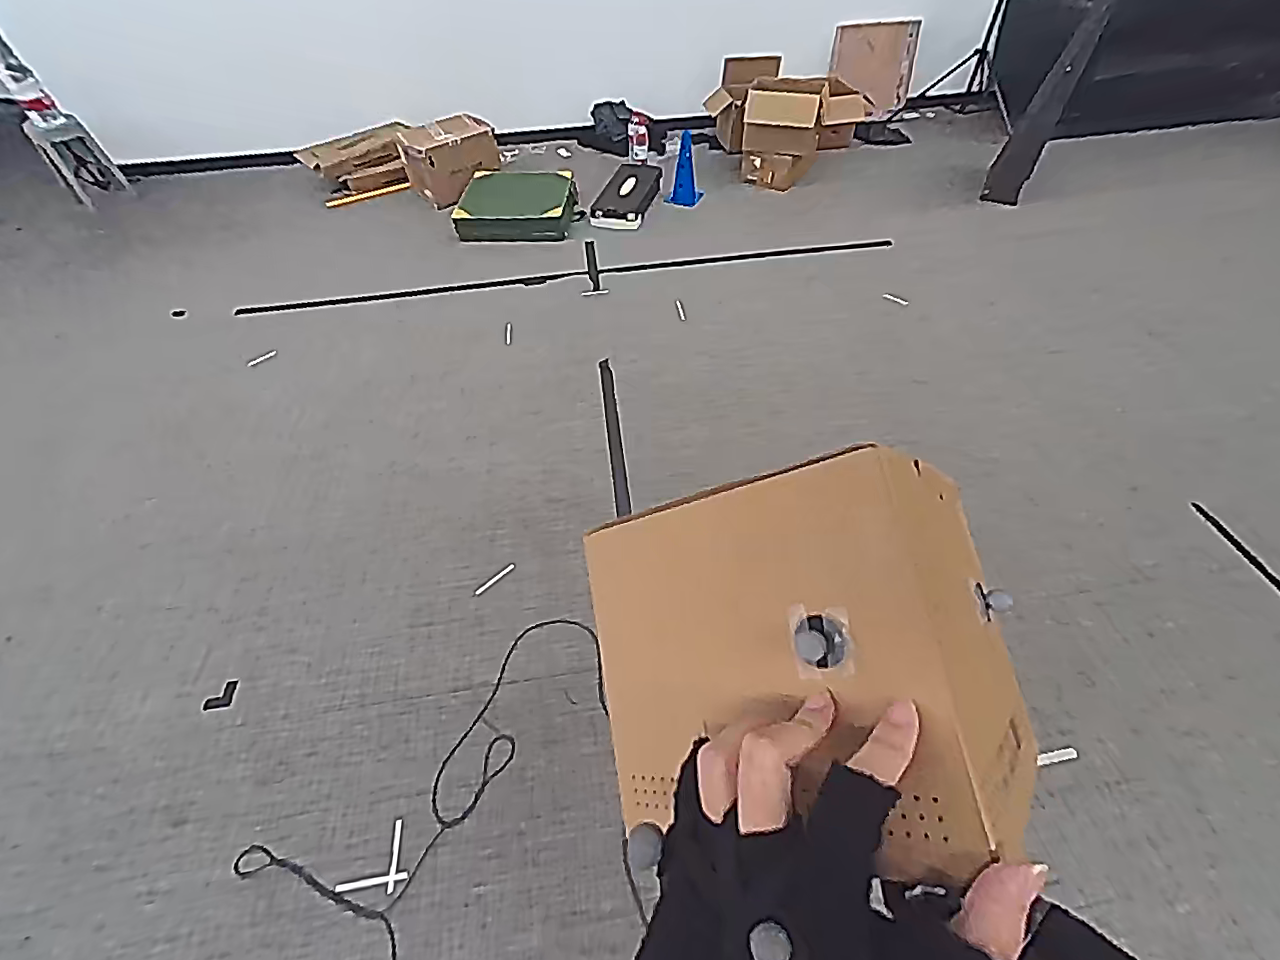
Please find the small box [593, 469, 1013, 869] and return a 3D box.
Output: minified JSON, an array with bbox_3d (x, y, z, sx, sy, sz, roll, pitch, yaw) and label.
[{"bbox_3d":[0.098,0.102,0.330,0.179,0.168,0.176,-21,72,37],"label":"small box"}]
